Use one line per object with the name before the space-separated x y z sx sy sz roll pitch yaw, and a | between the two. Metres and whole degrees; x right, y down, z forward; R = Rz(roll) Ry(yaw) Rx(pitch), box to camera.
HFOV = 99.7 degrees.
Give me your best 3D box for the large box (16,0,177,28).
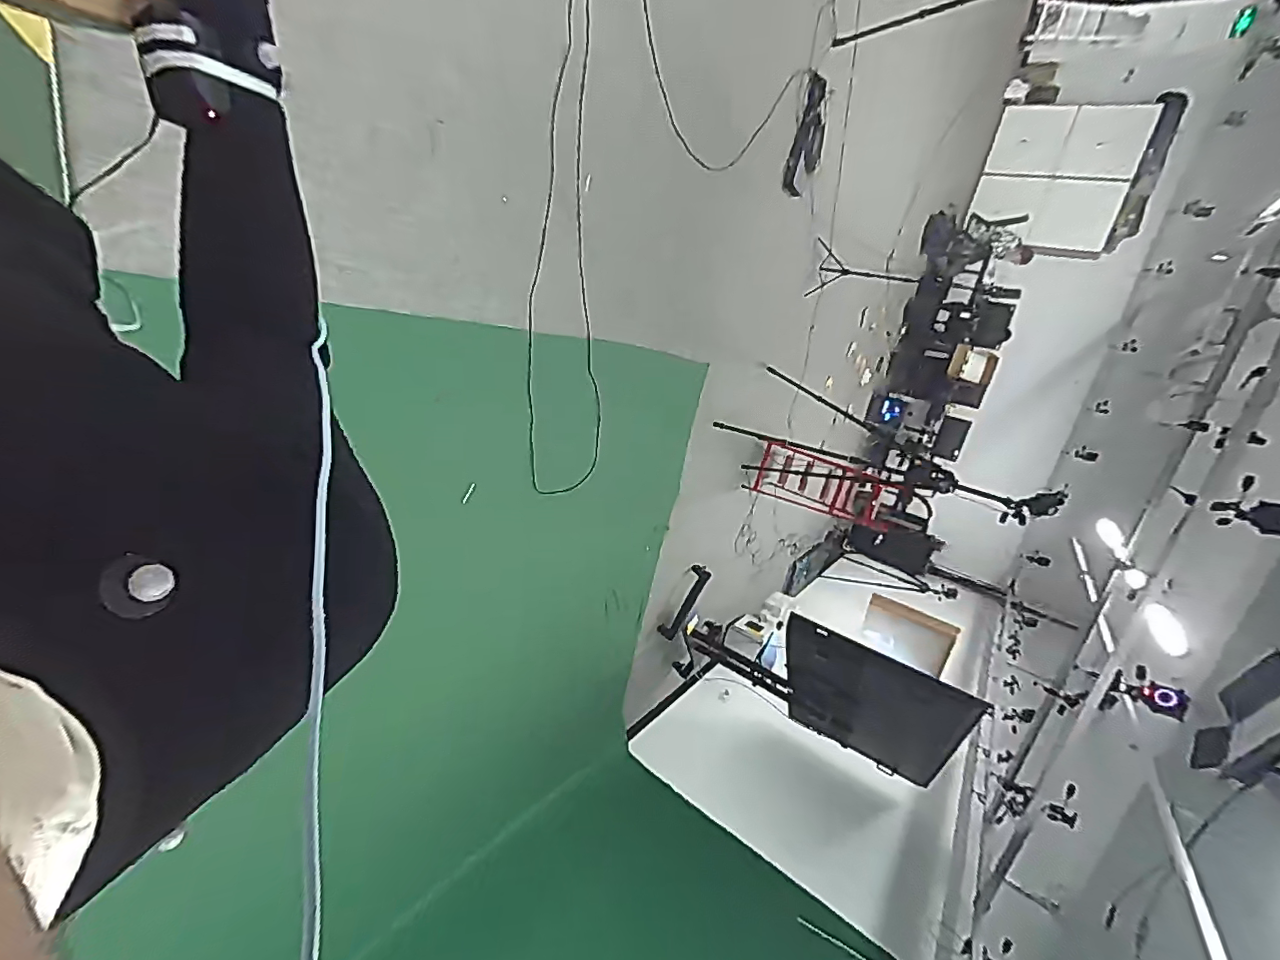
large box | -0.552 -0.512 0.275 0.408 0.320 0.320 -16 130 -53
